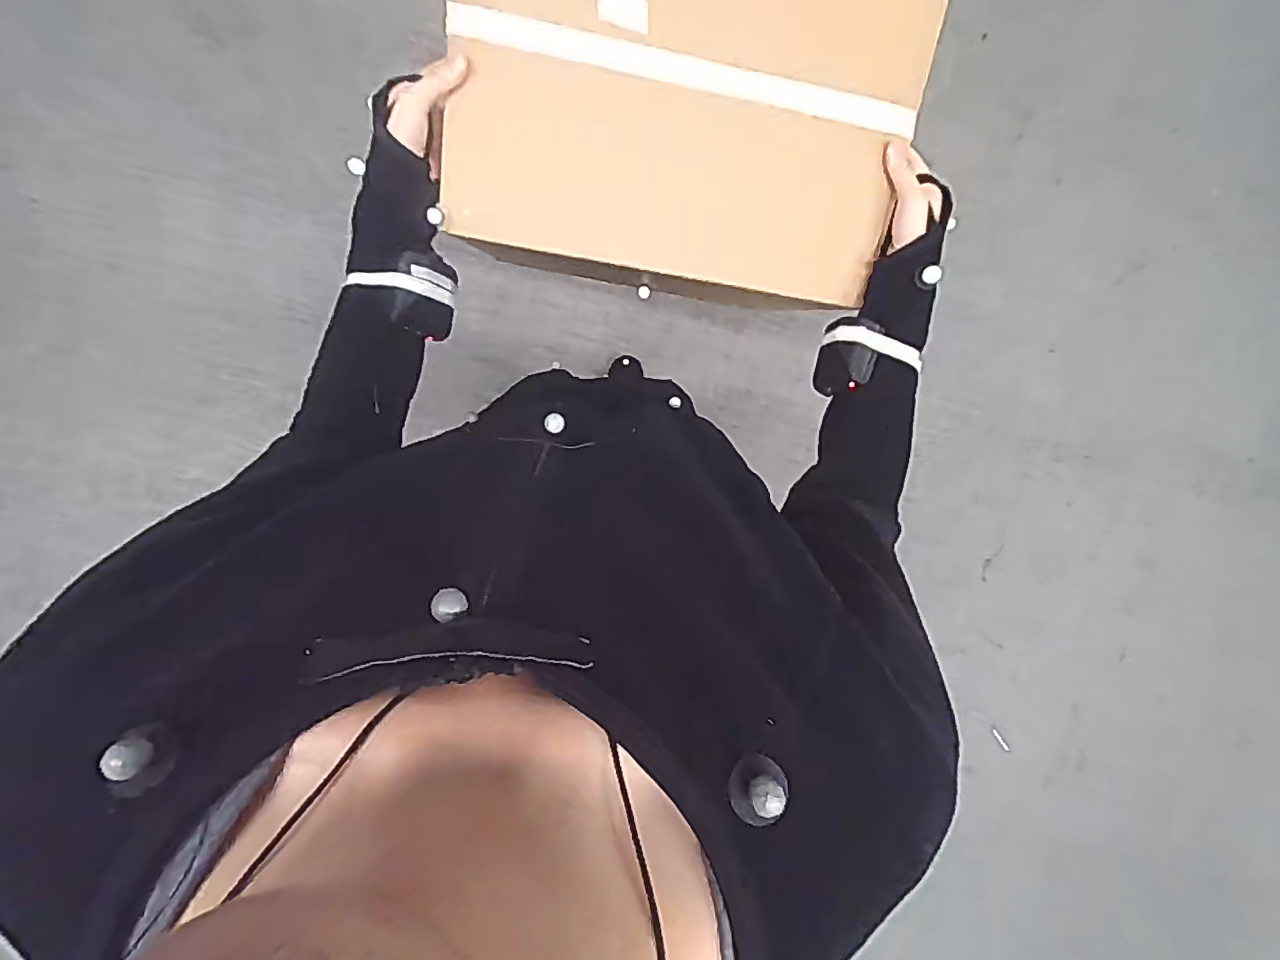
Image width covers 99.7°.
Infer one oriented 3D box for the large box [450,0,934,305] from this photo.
[{"bbox_3d":[0.034,-0.384,0.612,0.408,0.320,0.320,7,105,-7],"label":"large box"}]
